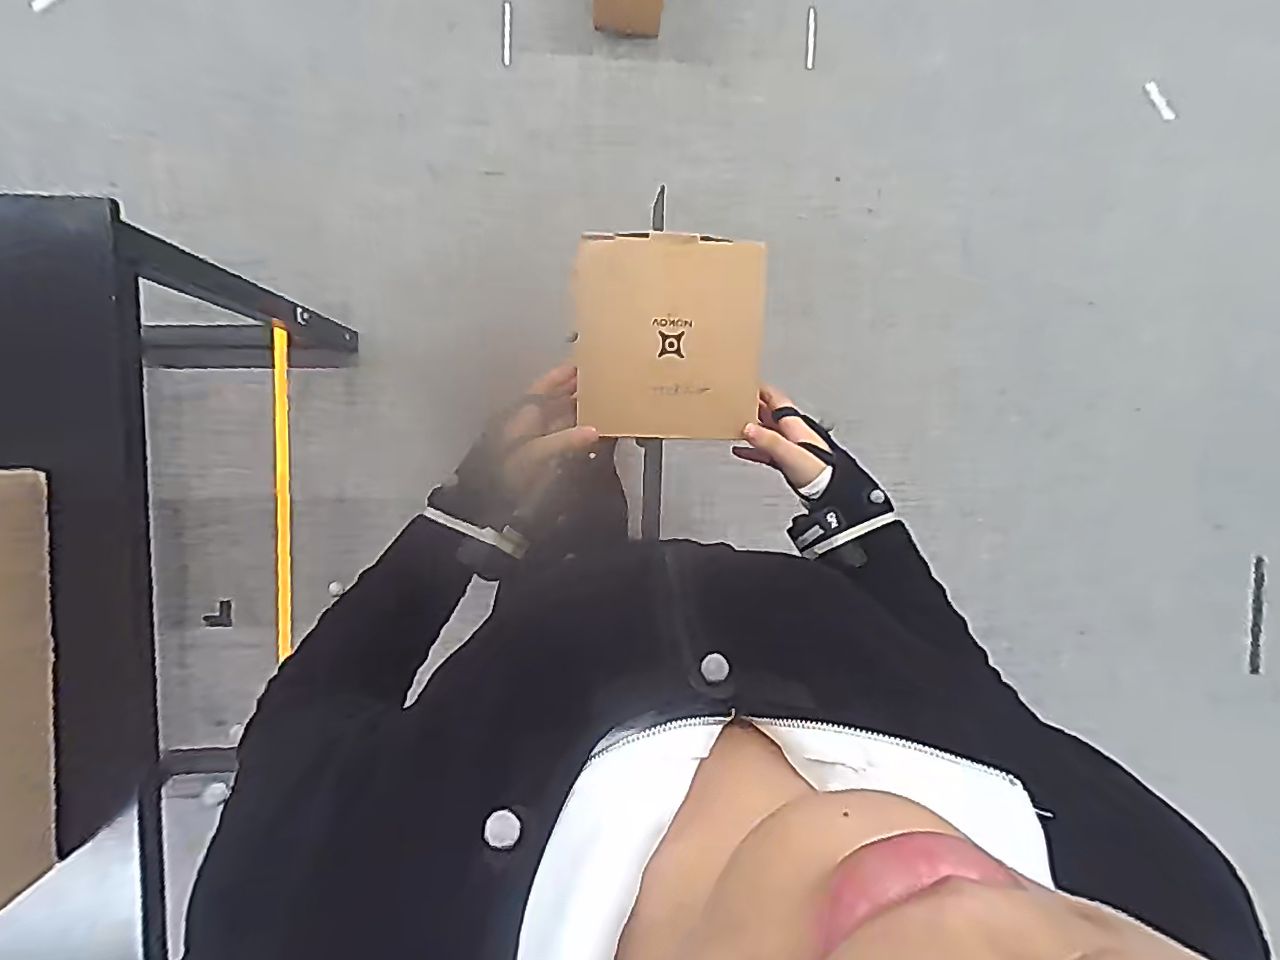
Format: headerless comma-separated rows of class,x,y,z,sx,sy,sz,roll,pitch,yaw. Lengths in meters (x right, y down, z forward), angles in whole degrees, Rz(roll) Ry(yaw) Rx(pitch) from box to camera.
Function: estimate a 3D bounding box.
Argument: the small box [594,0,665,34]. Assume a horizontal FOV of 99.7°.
small box,-0.020,-1.240,1.319,0.179,0.176,0.168,4,93,-5
